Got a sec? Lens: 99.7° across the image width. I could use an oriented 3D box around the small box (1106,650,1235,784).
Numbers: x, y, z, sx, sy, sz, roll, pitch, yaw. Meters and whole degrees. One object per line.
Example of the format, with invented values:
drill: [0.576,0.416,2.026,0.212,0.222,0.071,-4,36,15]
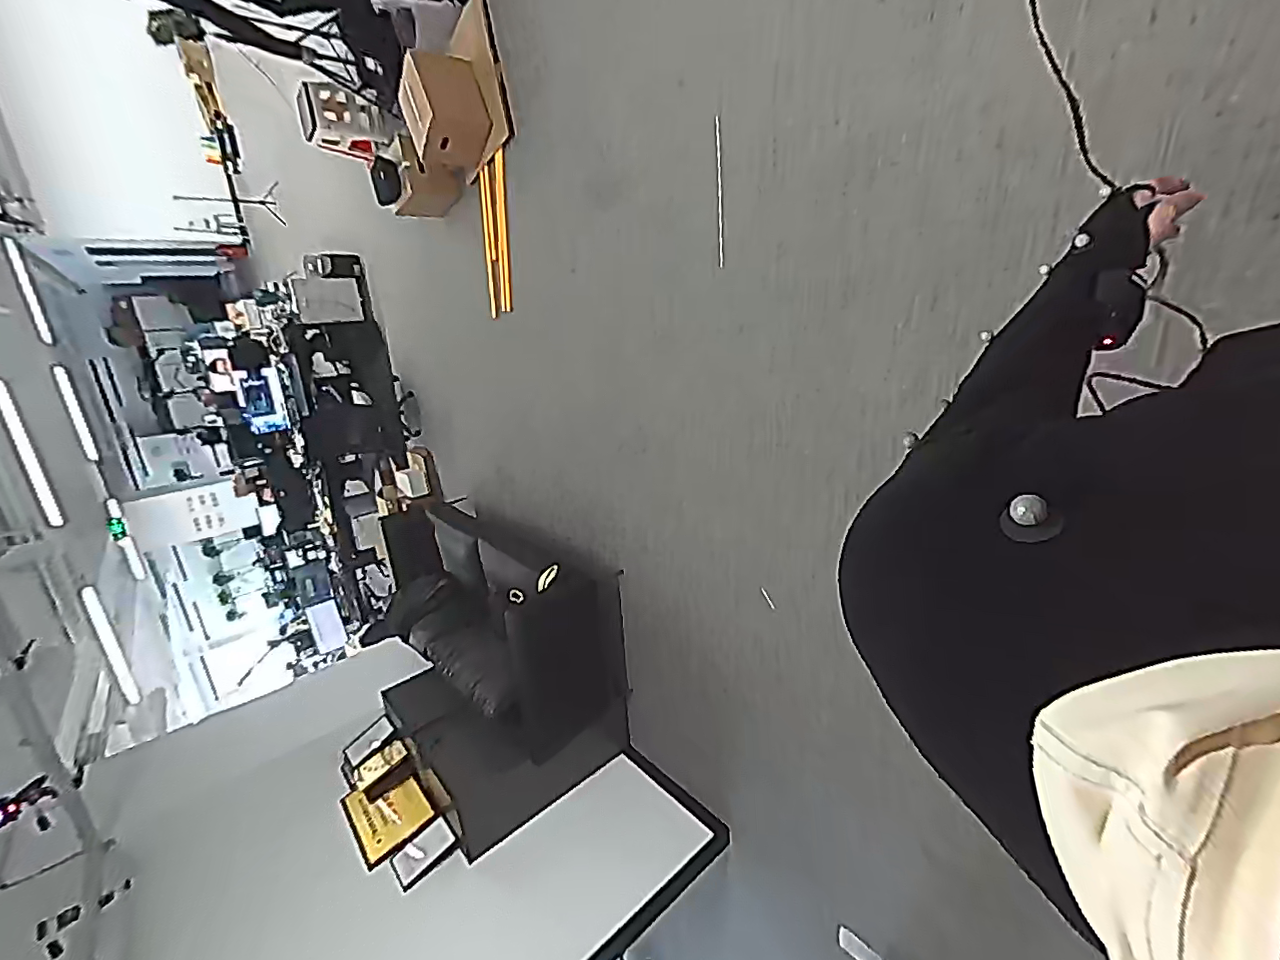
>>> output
small box: [1.181,0.517,1.203,0.168,0.176,0.179,20,119,44]
